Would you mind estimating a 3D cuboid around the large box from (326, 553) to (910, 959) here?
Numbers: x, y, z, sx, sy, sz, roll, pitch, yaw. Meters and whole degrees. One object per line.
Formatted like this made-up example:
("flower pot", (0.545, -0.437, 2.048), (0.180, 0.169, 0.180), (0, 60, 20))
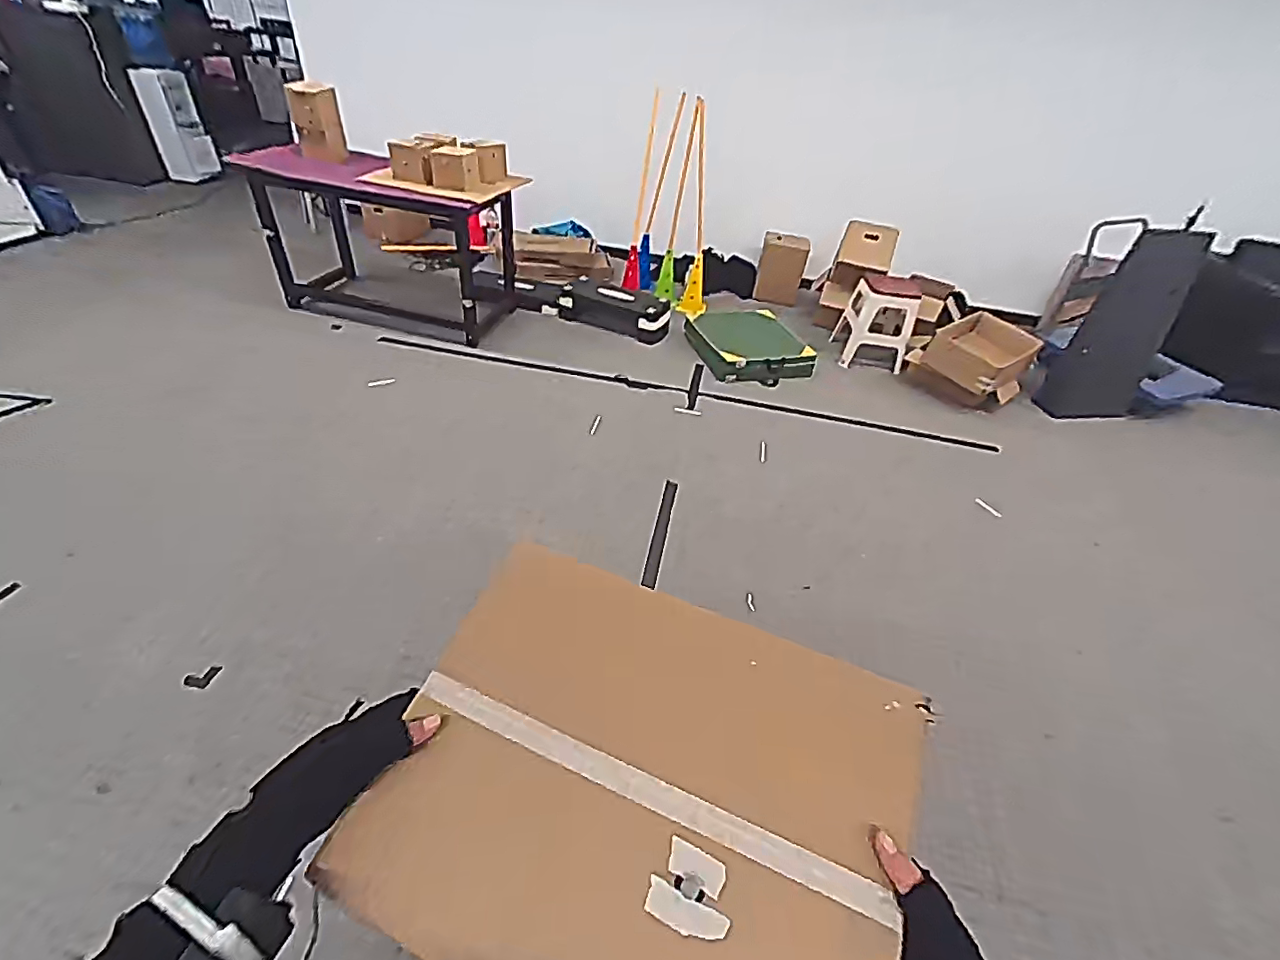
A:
("large box", (0.002, 0.331, 0.562), (0.408, 0.320, 0.320), (18, 58, 15))
